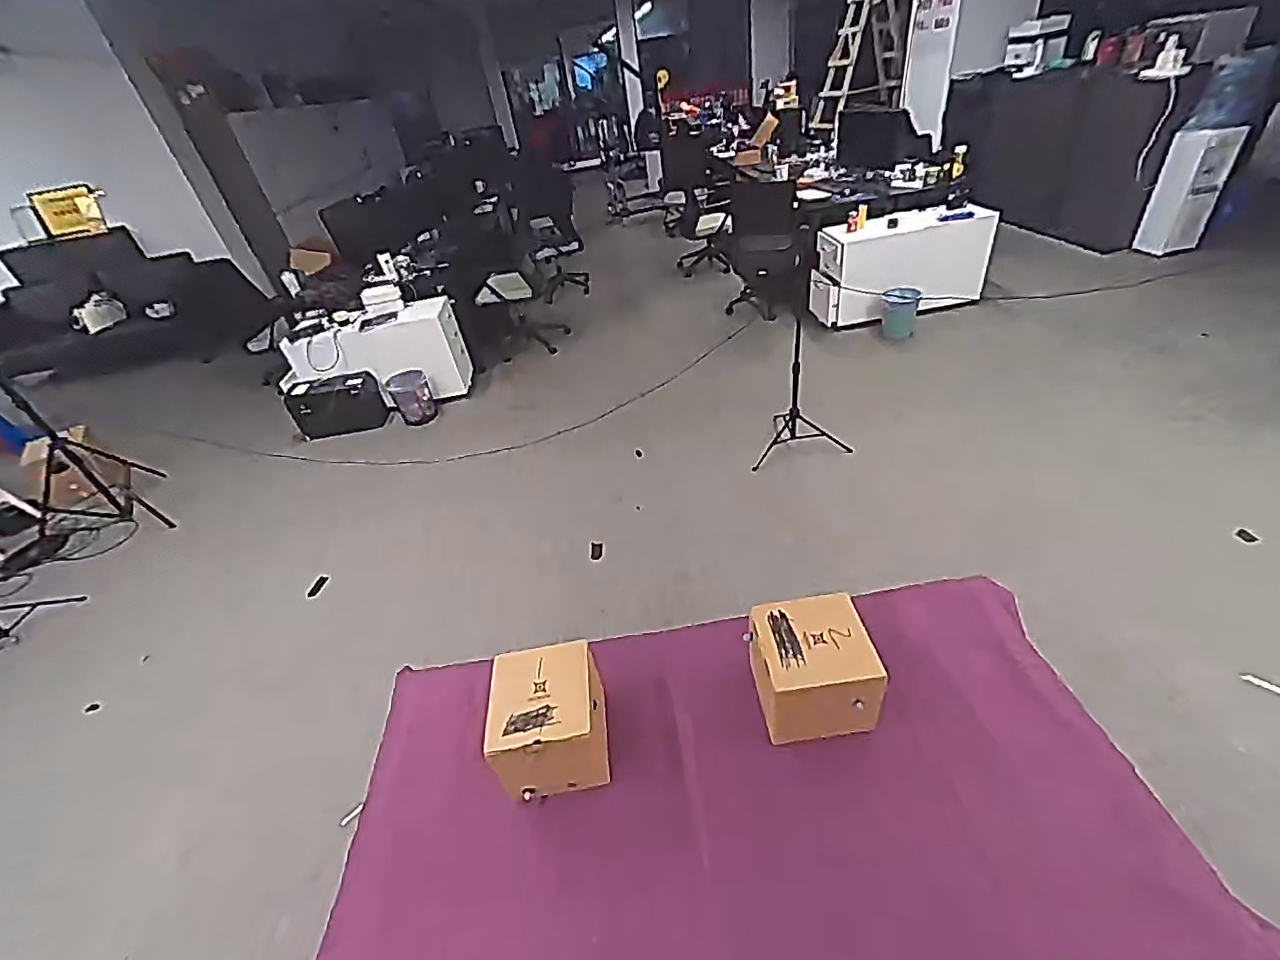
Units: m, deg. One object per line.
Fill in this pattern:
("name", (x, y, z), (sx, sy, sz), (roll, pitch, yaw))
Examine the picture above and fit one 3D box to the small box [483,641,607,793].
("small box", (-0.154, 0.409, 0.925), (0.168, 0.176, 0.179), (-10, 37, -1))
